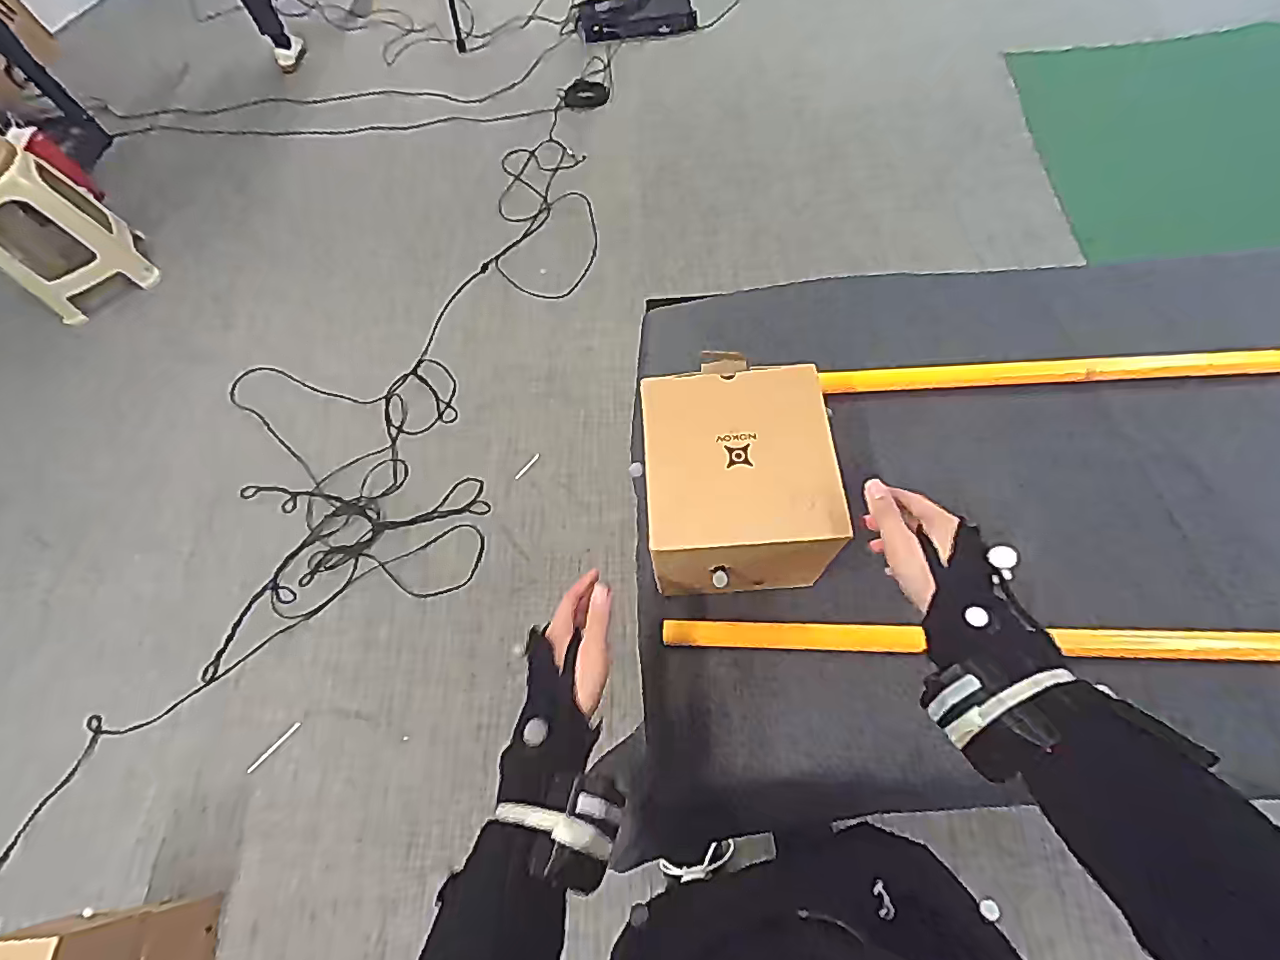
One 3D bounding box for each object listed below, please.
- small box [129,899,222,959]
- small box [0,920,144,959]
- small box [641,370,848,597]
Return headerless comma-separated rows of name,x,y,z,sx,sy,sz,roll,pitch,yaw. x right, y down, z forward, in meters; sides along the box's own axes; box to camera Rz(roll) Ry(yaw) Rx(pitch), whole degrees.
small box,-0.950,0.933,1.026,0.179,0.176,0.168,-14,67,1
small box,-0.976,0.852,0.880,0.168,0.176,0.179,-6,62,3
small box,0.093,0.015,0.546,0.168,0.176,0.179,-5,63,4
